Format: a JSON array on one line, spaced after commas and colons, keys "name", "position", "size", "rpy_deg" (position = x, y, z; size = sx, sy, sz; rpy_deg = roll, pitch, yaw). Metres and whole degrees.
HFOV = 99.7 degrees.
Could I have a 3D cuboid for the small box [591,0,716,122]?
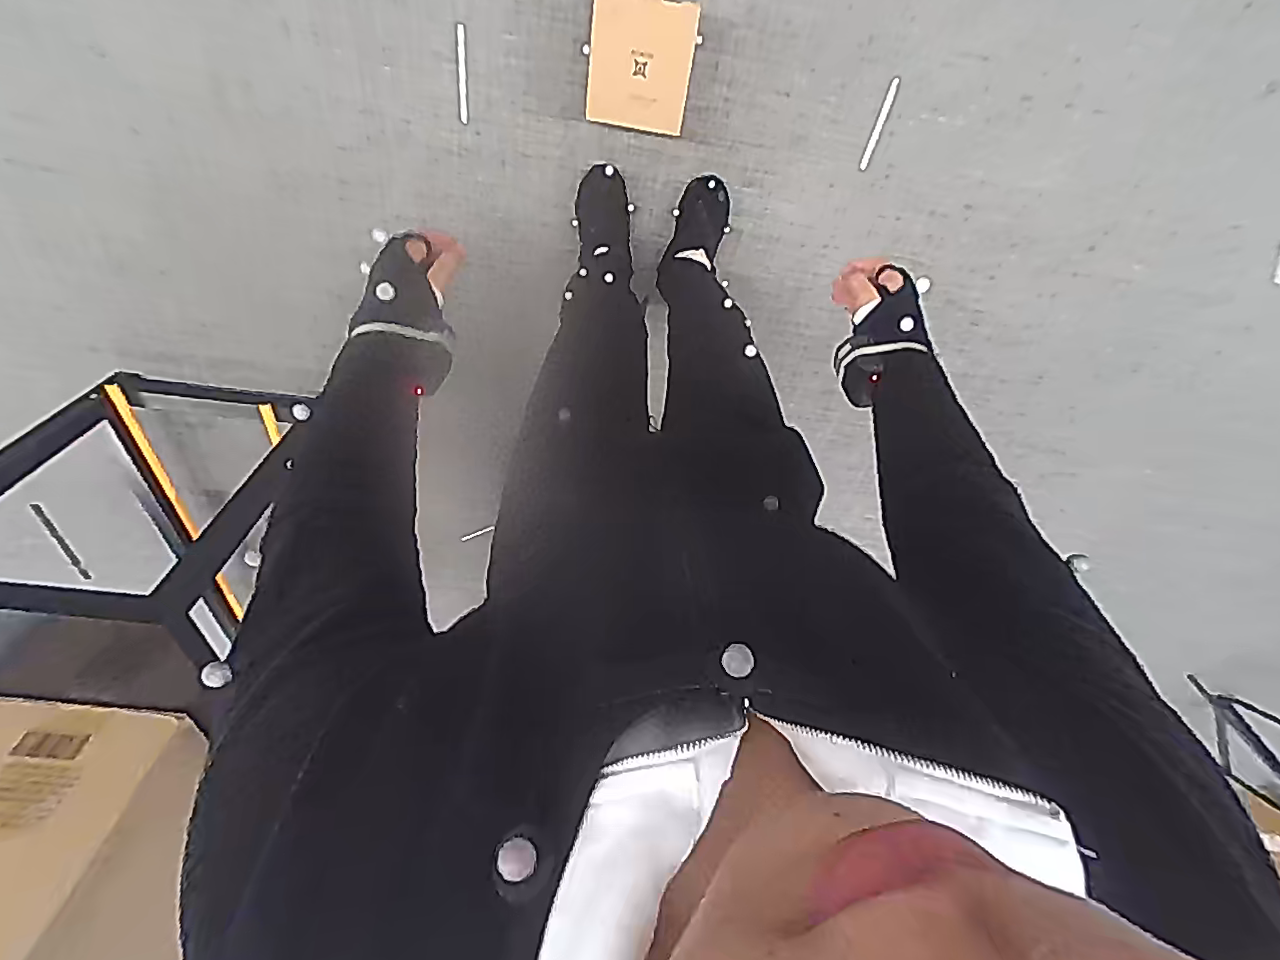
[{"name": "small box", "position": [0.018, -0.686, 0.841], "size": [0.168, 0.176, 0.179], "rpy_deg": [7, 133, -4]}]
